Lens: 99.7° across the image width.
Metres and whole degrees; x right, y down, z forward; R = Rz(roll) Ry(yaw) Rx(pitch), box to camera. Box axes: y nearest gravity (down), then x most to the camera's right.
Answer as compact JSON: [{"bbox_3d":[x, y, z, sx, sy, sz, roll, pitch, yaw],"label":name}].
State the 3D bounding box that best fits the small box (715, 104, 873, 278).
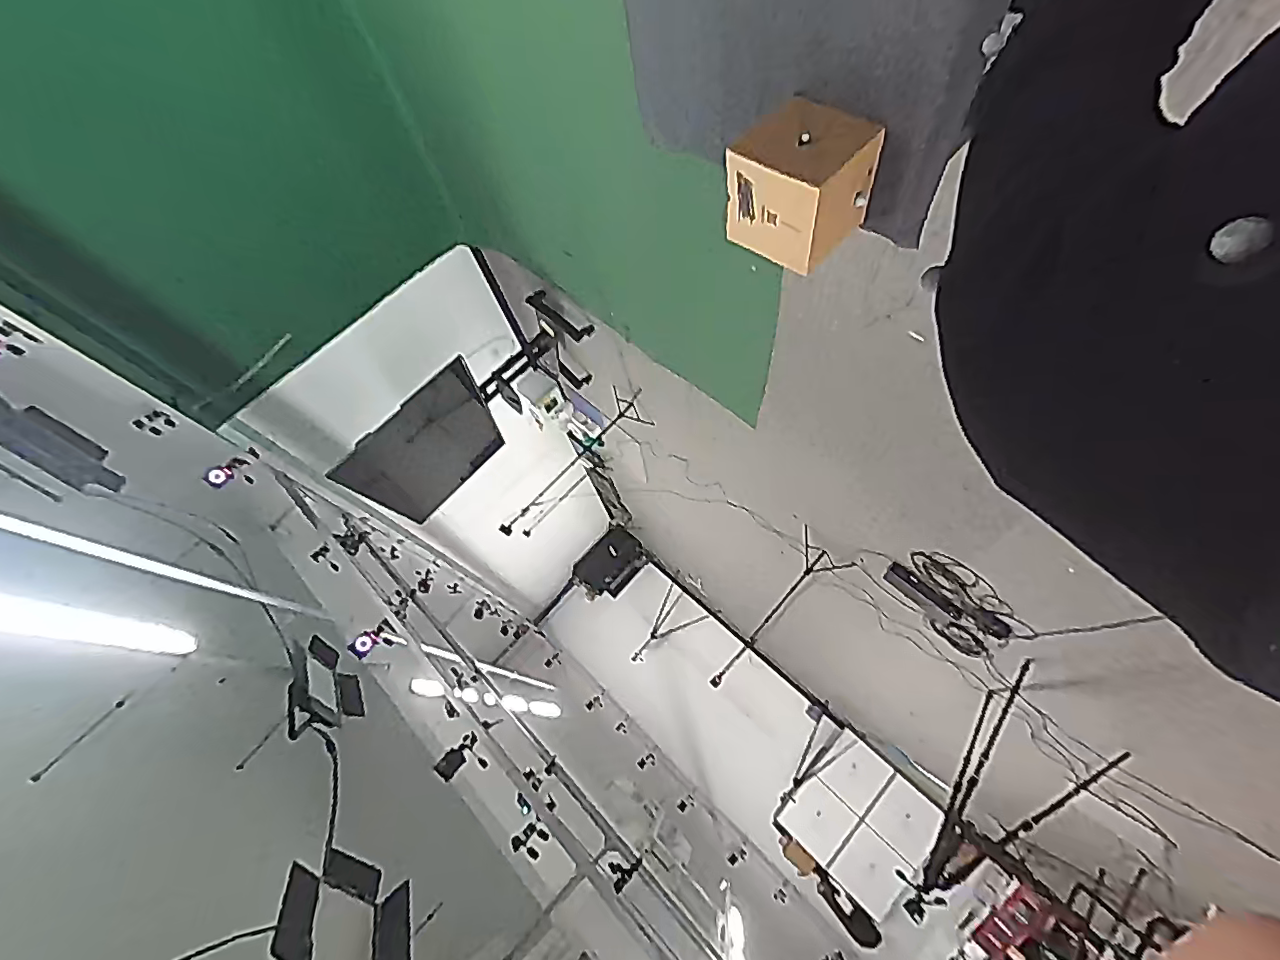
[{"bbox_3d":[0.242,-0.475,0.886,0.179,0.176,0.168,38,165,24],"label":"small box"}]
